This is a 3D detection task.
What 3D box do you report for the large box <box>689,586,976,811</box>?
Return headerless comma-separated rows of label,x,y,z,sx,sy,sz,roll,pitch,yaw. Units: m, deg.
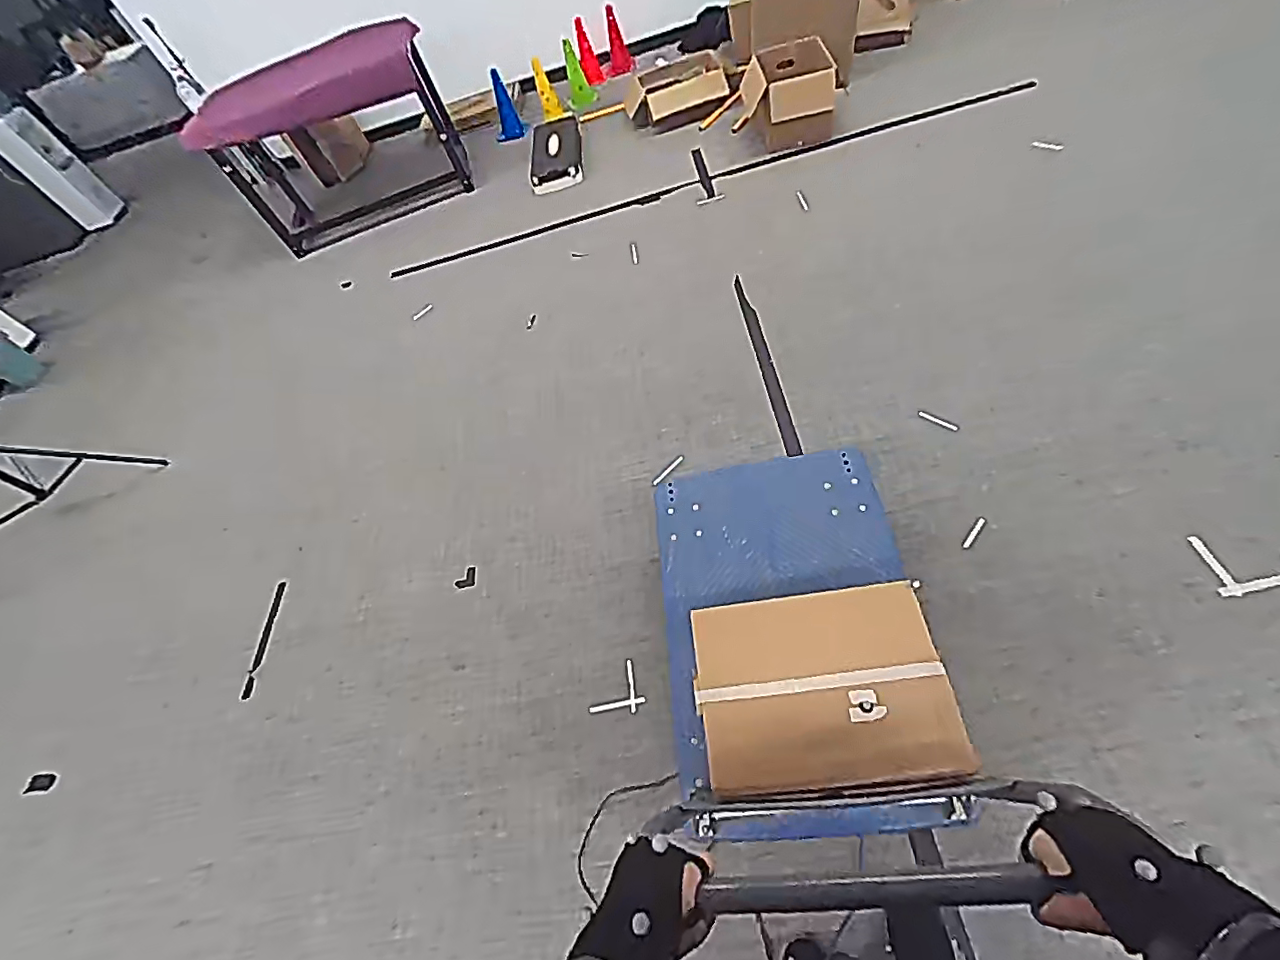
large box,0.327,0.431,1.031,0.408,0.320,0.320,-10,58,8
